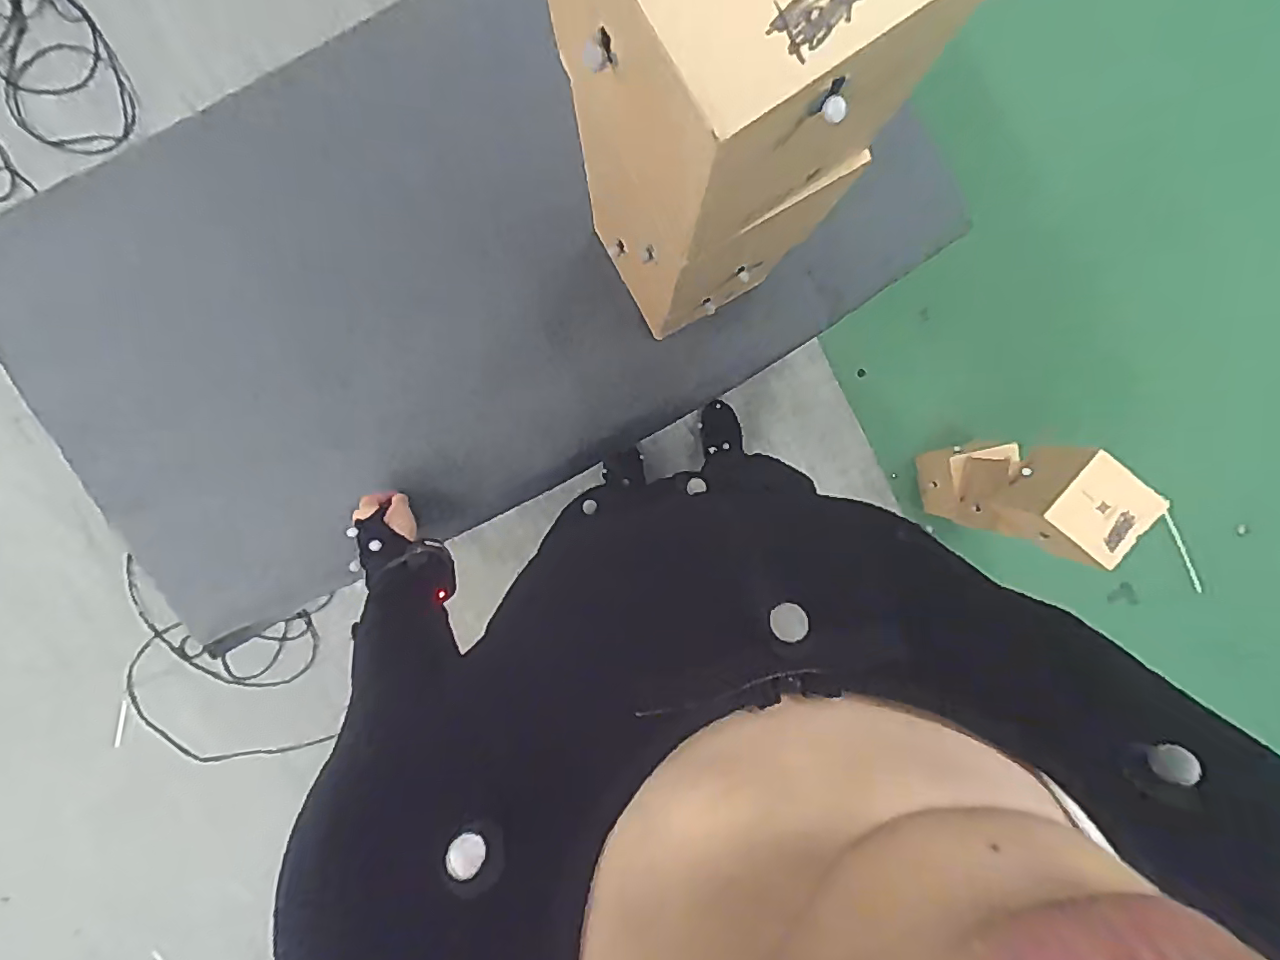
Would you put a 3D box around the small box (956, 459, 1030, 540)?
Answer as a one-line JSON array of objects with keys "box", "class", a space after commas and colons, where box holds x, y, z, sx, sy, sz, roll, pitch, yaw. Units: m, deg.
[{"box": [0.870, 0.045, 1.249, 0.179, 0.176, 0.168, 8, 97, -2], "class": "small box"}]

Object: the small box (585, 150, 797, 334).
[{"box": [0.053, -0.288, 0.635, 0.168, 0.176, 0.179, -29, 94, 1], "class": "small box"}]

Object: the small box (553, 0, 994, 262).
[{"box": [0.055, -0.261, 0.307, 0.168, 0.176, 0.179, -32, 93, 3], "class": "small box"}]

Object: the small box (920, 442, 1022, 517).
[{"box": [0.857, 0.000, 1.408, 0.179, 0.176, 0.168, -13, 96, 0], "class": "small box"}]

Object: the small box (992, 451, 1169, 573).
[{"box": [0.869, 0.053, 1.084, 0.179, 0.176, 0.168, 38, 95, -3], "class": "small box"}]
